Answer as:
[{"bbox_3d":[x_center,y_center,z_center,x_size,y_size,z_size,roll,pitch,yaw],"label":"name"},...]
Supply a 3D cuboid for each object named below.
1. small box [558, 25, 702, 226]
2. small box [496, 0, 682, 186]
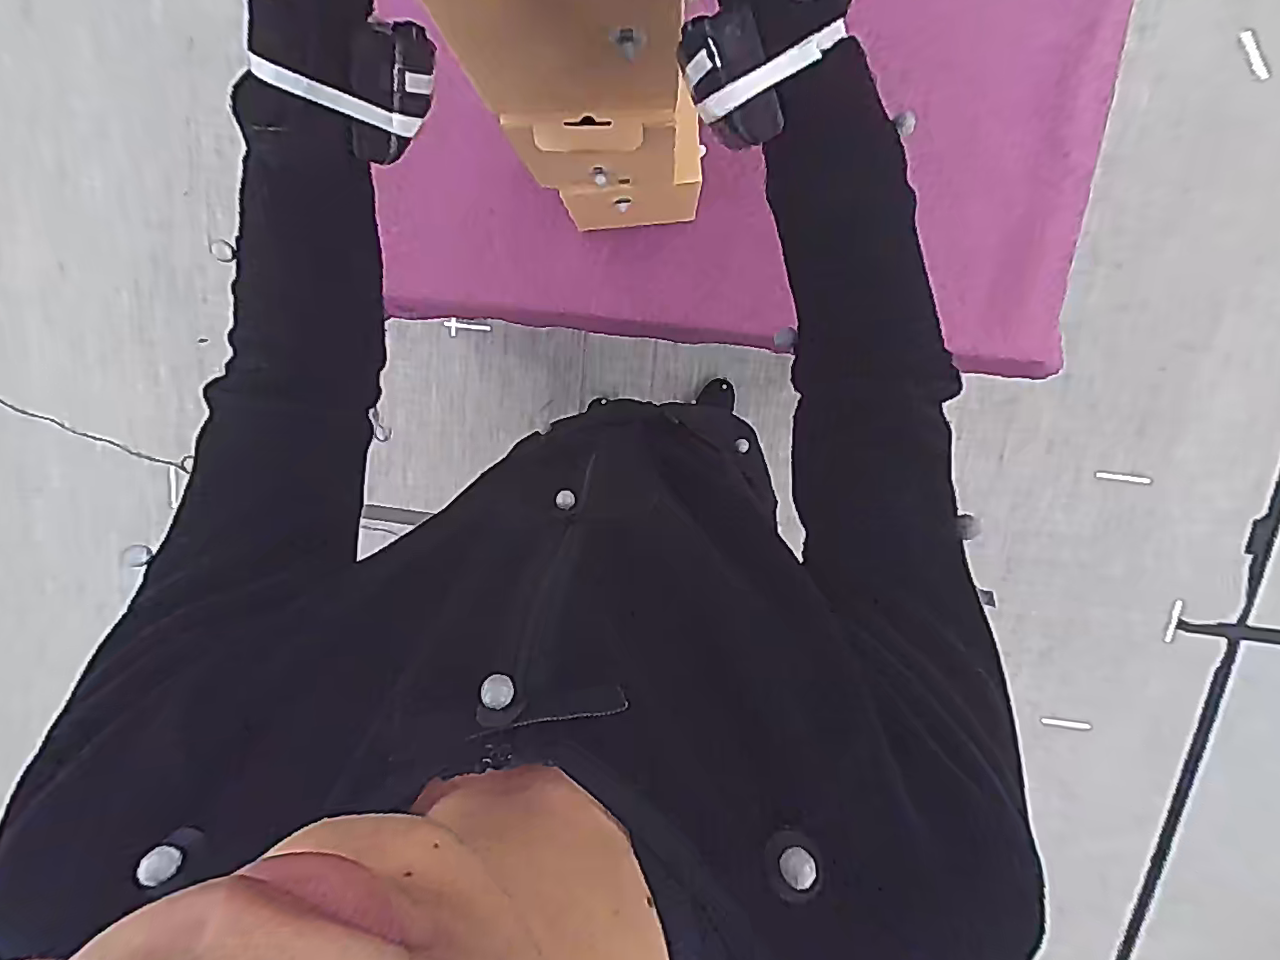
[{"bbox_3d":[-0.014,-0.448,0.713,0.179,0.176,0.168,-4,101,3],"label":"small box"},{"bbox_3d":[-0.042,-0.425,0.552,0.168,0.176,0.179,1,101,3],"label":"small box"}]
